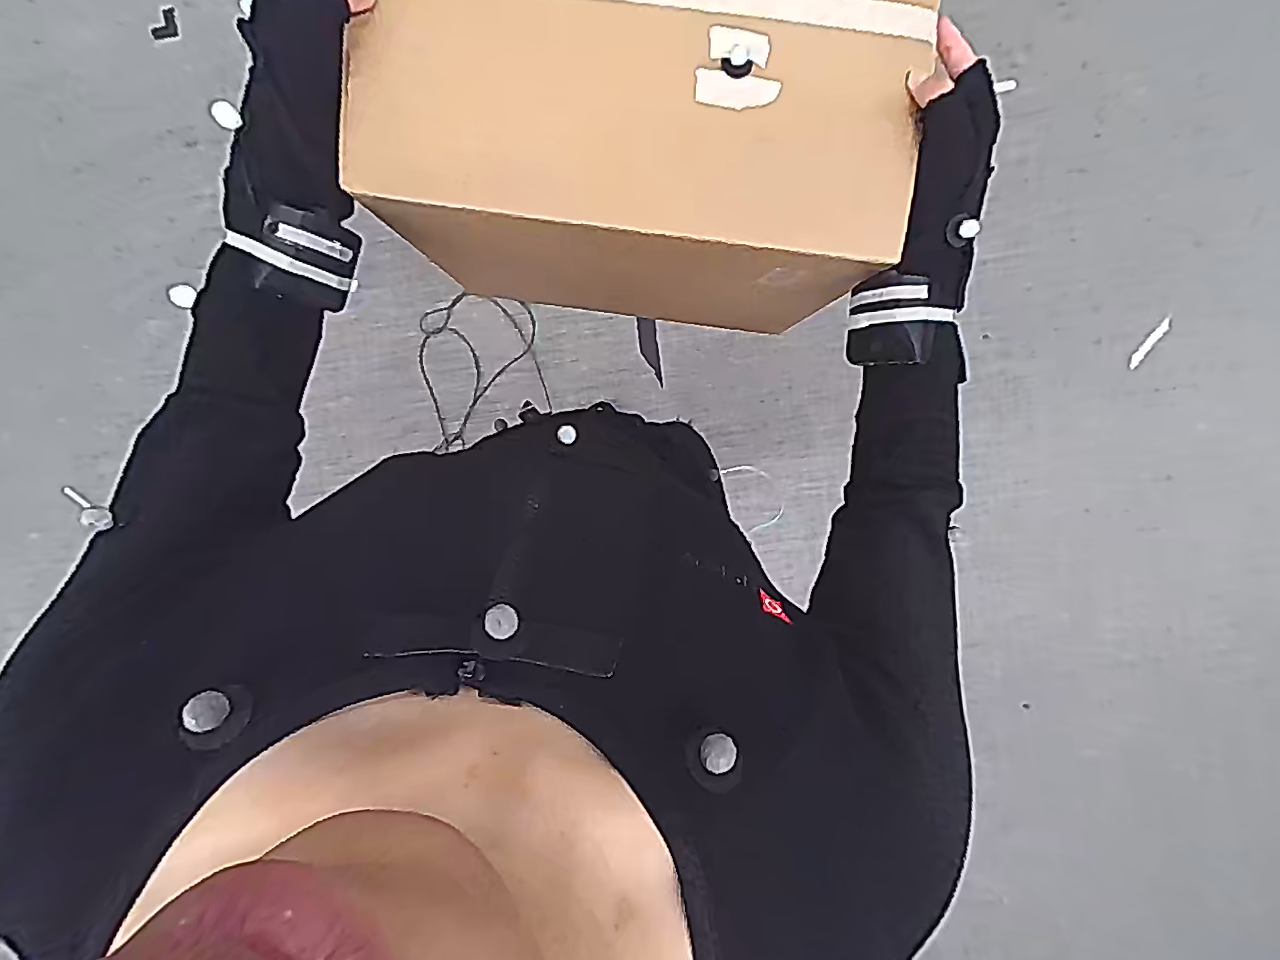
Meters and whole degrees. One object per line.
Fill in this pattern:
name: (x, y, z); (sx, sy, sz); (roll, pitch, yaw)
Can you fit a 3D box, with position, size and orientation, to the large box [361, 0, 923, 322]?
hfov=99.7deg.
large box: (0.000, -0.358, 0.536); (0.408, 0.320, 0.320); (6, 96, -2)
